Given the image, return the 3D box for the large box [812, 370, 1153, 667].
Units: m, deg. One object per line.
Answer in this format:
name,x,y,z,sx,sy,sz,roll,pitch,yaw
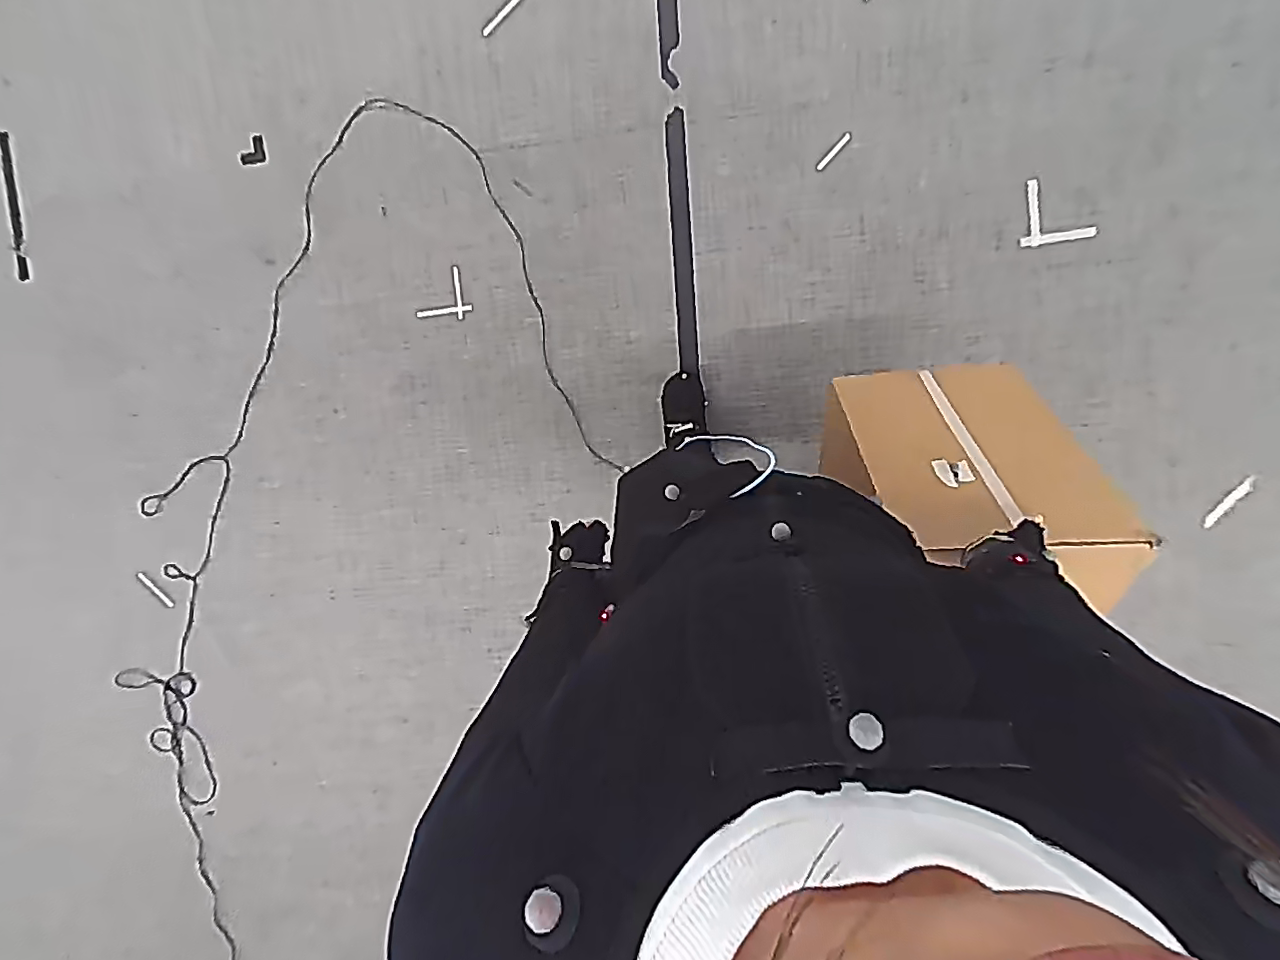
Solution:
large box,0.498,0.059,0.916,0.320,0.408,0.320,-3,134,7
